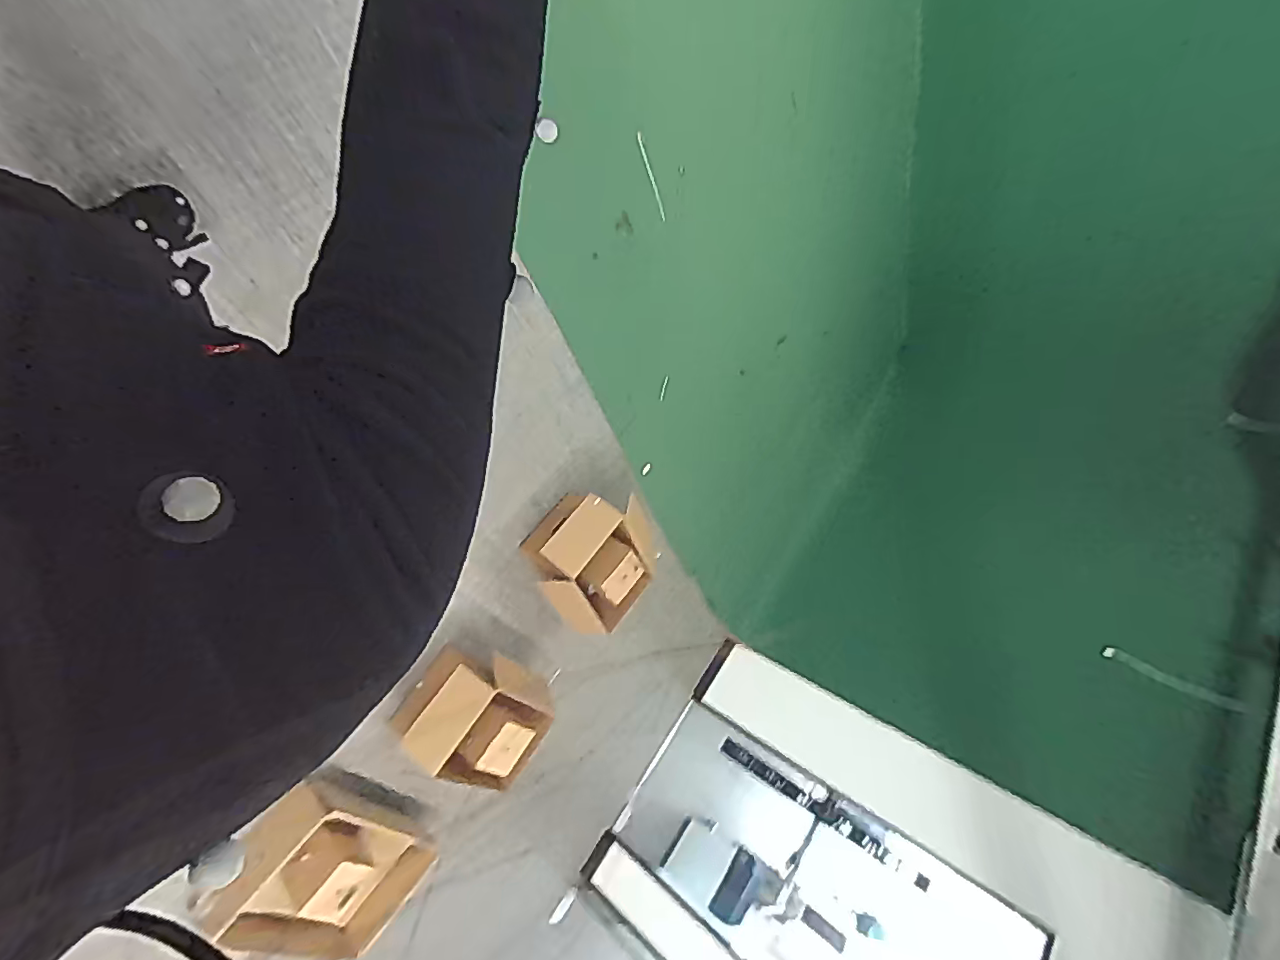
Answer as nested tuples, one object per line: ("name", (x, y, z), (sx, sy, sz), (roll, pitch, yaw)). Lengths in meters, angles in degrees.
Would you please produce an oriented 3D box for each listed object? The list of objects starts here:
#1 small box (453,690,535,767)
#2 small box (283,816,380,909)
("small box", (-0.507, 0.852, 1.866), (0.168, 0.176, 0.179), (-54, 140, -17))
("small box", (-0.965, 1.193, 1.693), (0.168, 0.176, 0.179), (-49, 140, -22))
